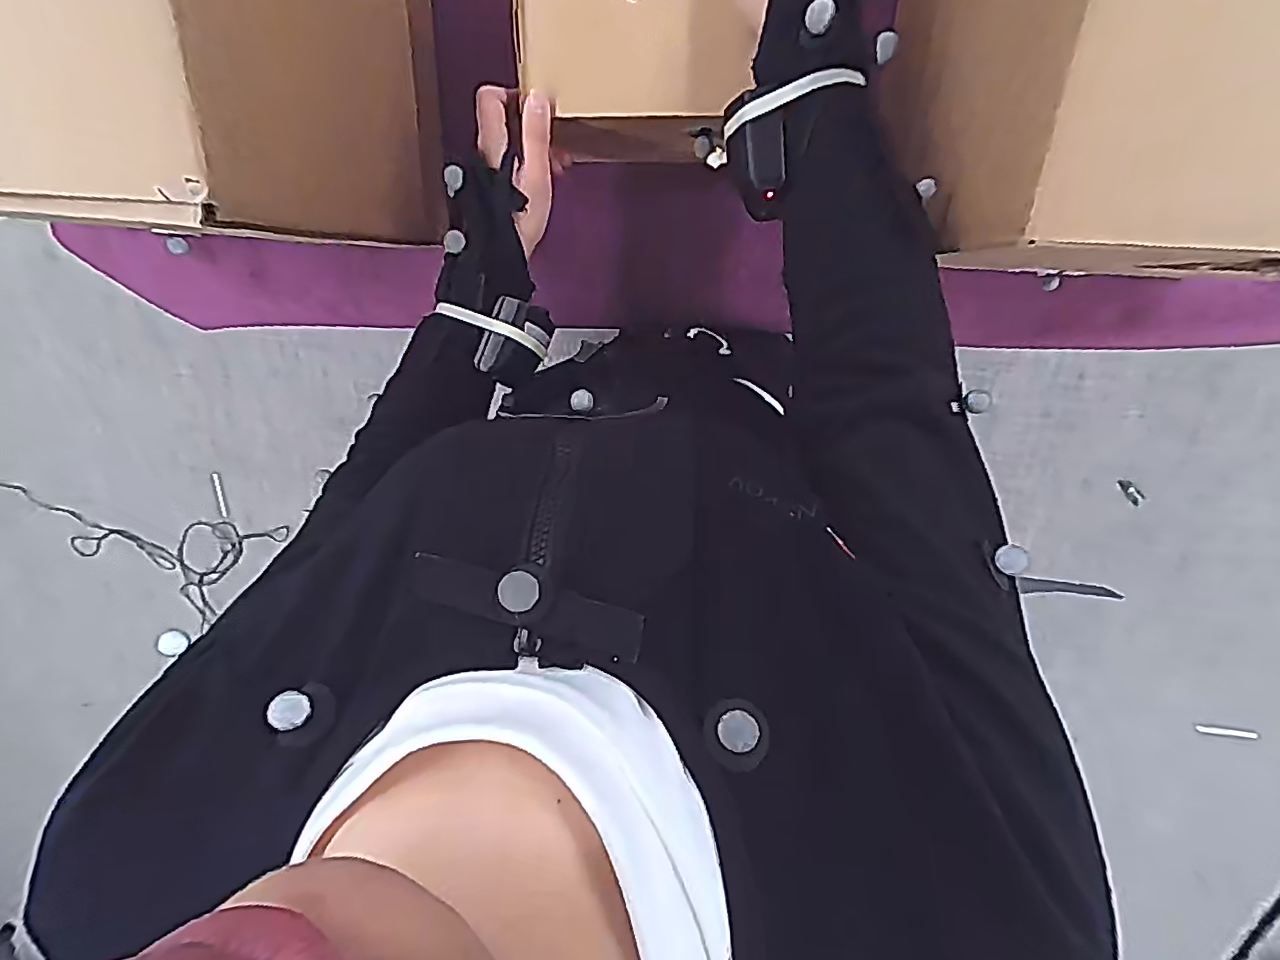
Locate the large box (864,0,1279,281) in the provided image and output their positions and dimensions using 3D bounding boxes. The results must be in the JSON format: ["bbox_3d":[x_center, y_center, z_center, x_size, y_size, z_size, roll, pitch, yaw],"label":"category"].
[{"bbox_3d":[0.348,-0.327,0.299,0.320,0.320,0.408,5,110,4],"label":"large box"}]
